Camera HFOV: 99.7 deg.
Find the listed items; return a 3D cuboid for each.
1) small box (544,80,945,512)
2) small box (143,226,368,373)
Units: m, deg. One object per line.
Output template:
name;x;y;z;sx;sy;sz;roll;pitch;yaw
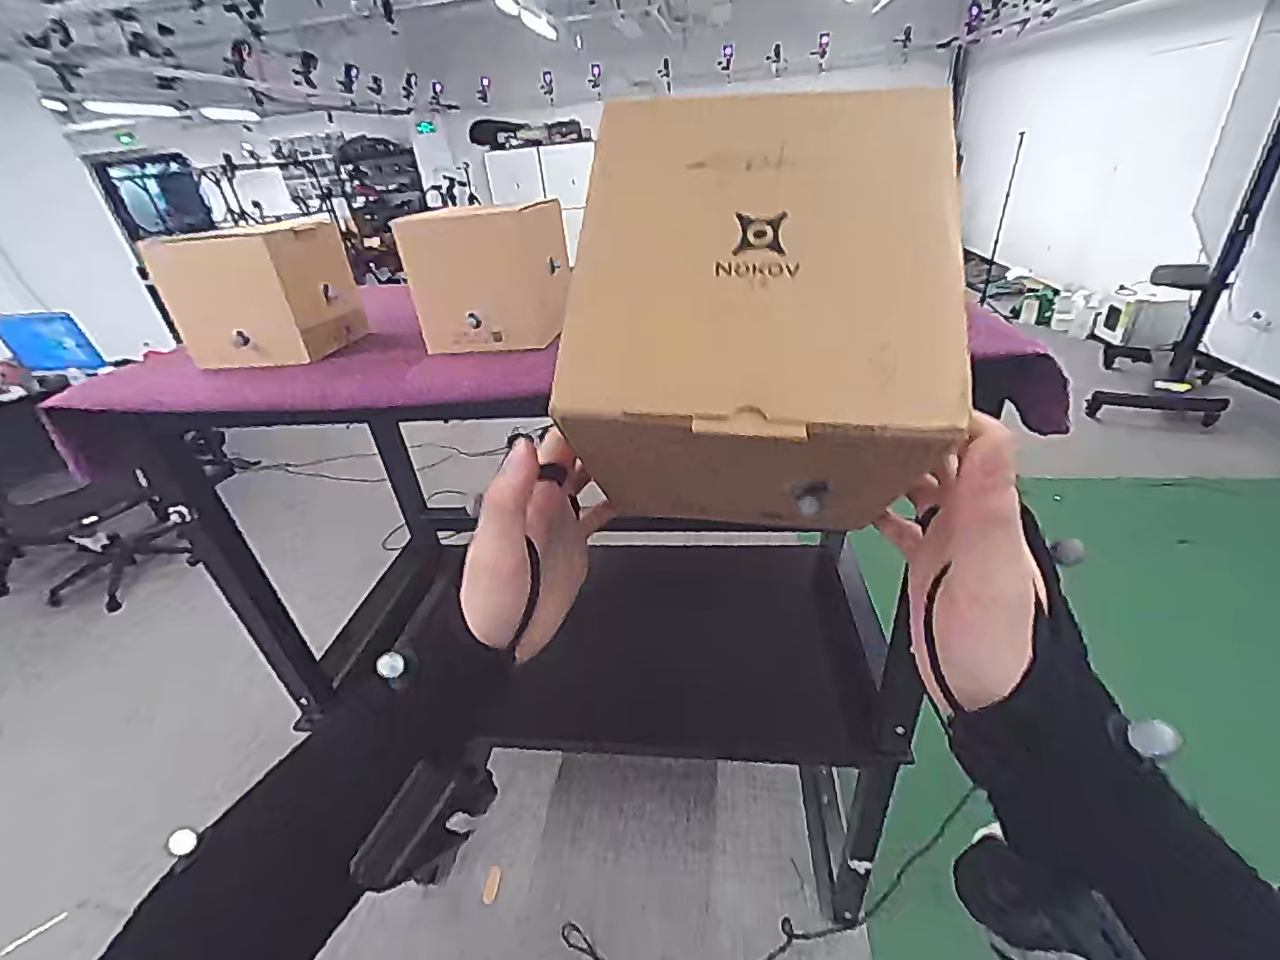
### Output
small box;0.059;-0.086;0.318;0.168;0.176;0.179;4;73;9
small box;-0.532;-0.262;0.782;0.179;0.176;0.168;-2;30;6
